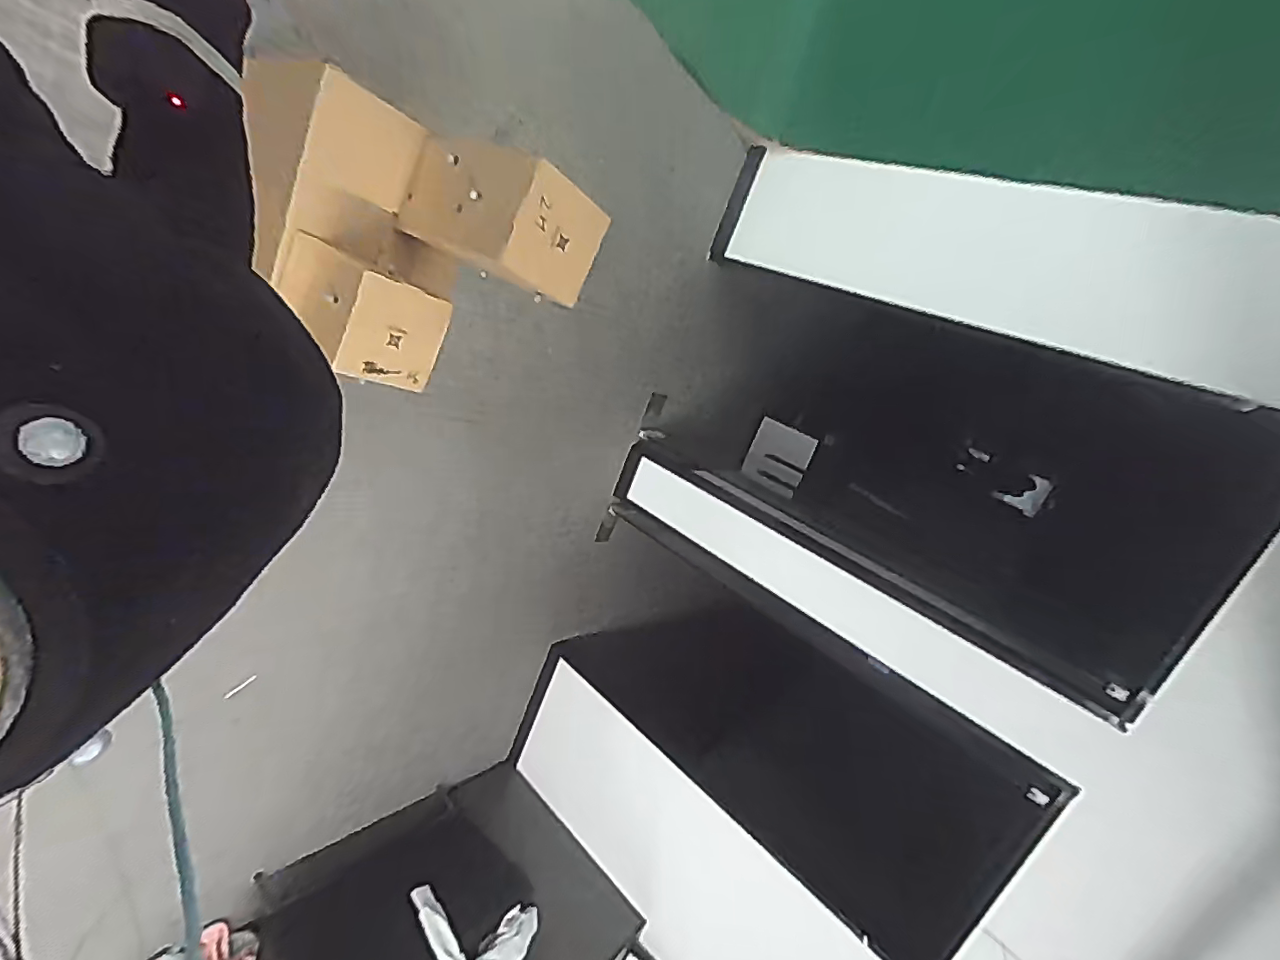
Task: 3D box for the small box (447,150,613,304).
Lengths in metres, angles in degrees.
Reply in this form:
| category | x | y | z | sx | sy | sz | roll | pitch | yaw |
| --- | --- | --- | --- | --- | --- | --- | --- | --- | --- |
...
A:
| category | x | y | z | sx | sy | sz | roll | pitch | yaw |
| --- | --- | --- | --- | --- | --- | --- | --- | --- | --- |
| small box | -0.184 | -0.424 | 0.908 | 0.179 | 0.176 | 0.168 | 13 | 104 | -56 |

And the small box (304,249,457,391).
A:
| category | x | y | z | sx | sy | sz | roll | pitch | yaw |
| --- | --- | --- | --- | --- | --- | --- | --- | --- | --- |
| small box | -0.461 | -0.282 | 0.955 | 0.168 | 0.176 | 0.179 | 10 | 108 | -53 |
